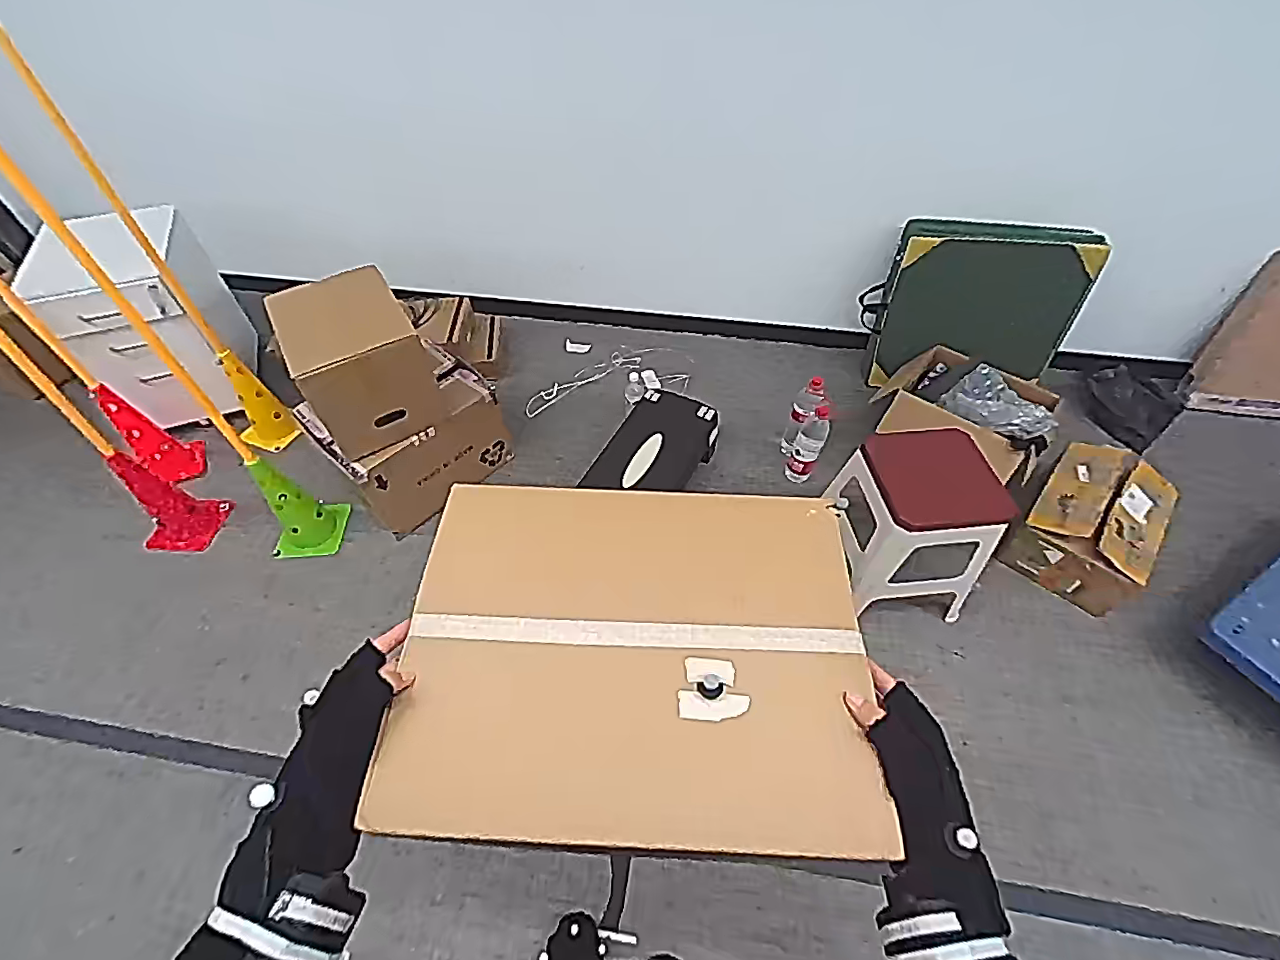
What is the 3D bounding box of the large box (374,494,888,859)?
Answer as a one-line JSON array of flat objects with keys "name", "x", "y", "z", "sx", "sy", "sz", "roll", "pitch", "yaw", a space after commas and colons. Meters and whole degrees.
[{"name": "large box", "x": -0.005, "y": 0.233, "z": 0.618, "sx": 0.408, "sy": 0.320, "sz": 0.320, "roll": 3, "pitch": 54, "yaw": 1}]
